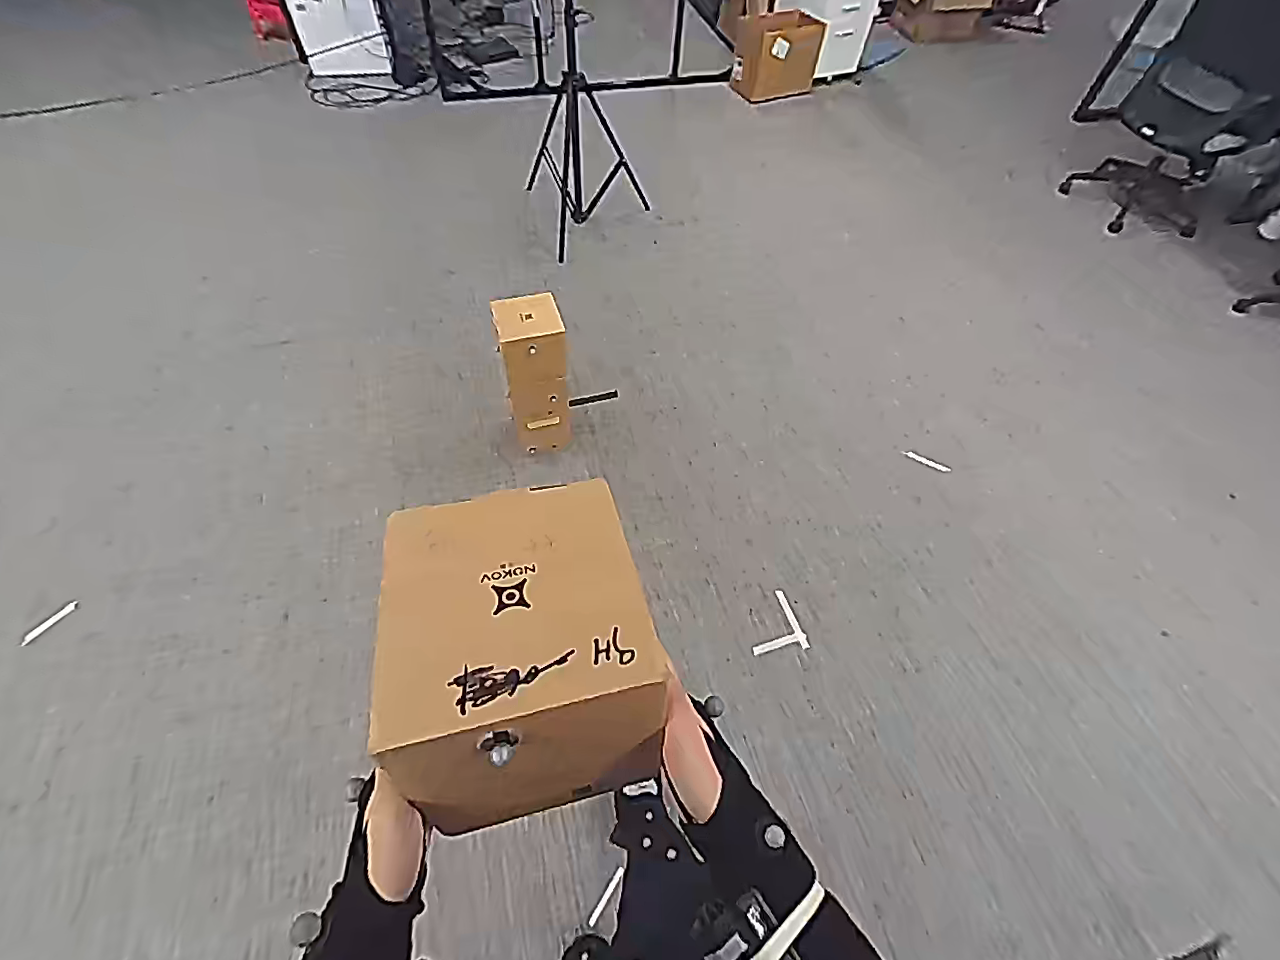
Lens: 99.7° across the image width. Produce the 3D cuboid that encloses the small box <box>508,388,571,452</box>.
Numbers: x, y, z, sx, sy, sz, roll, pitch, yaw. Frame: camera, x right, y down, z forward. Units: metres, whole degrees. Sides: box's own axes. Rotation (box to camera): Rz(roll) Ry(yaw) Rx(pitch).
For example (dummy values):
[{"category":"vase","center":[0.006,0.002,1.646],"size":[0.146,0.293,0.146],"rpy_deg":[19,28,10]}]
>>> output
[{"category":"small box","center":[-0.327,-0.210,1.781],"size":[0.168,0.176,0.179],"rpy_deg":[-14,58,-12]}]

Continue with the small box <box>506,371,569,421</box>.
[{"category":"small box","center":[-0.318,-0.299,1.646],"size":[0.168,0.176,0.179],"rpy_deg":[-14,58,-13]}]

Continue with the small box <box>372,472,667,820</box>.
[{"category":"small box","center":[-0.085,0.122,0.413],"size":[0.168,0.176,0.179],"rpy_deg":[-10,45,-11]}]

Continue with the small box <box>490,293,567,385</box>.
[{"category":"small box","center":[-0.306,-0.390,1.512],"size":[0.179,0.176,0.168],"rpy_deg":[-15,60,-13]}]
